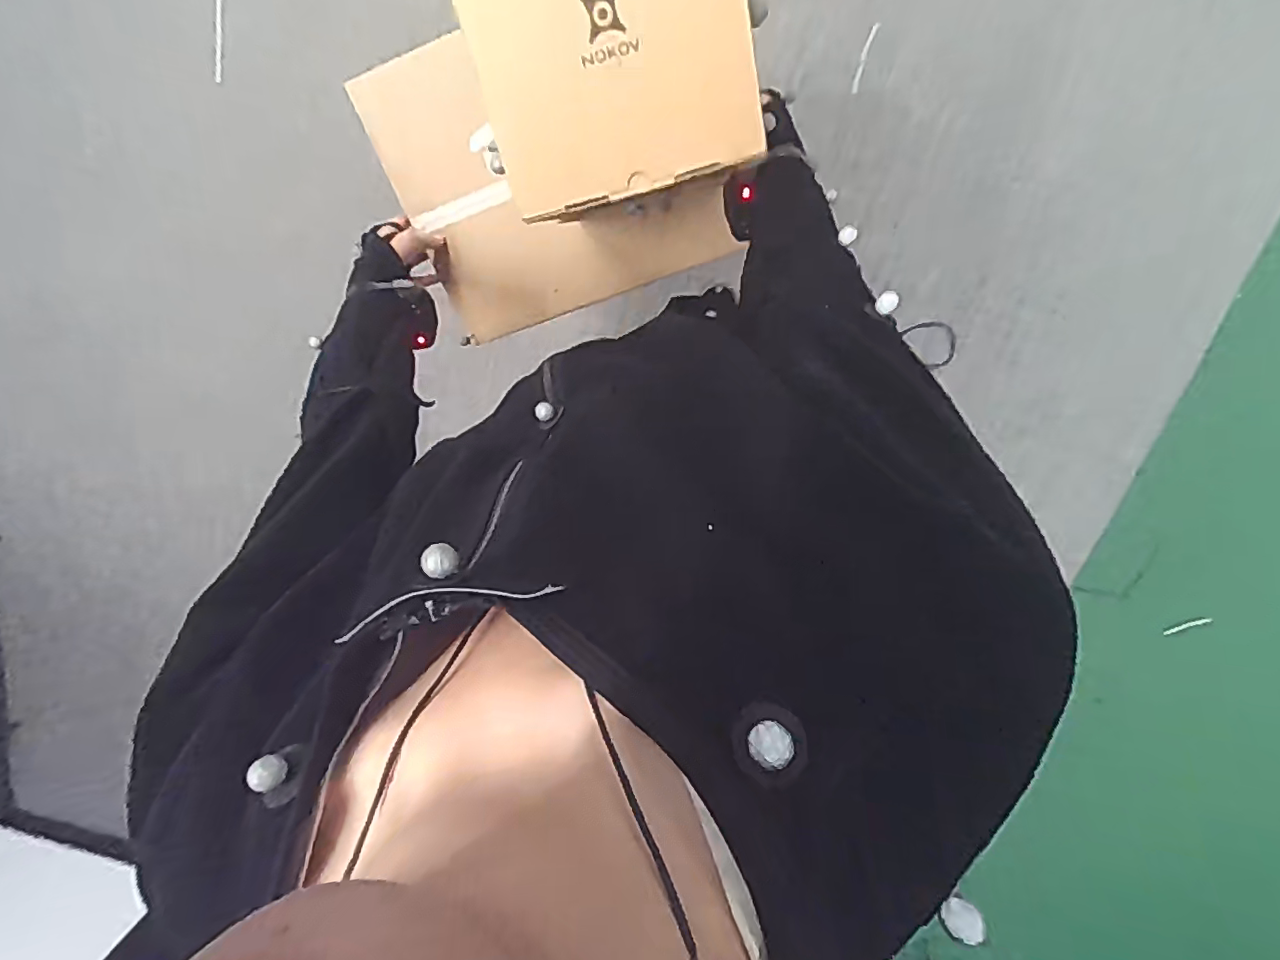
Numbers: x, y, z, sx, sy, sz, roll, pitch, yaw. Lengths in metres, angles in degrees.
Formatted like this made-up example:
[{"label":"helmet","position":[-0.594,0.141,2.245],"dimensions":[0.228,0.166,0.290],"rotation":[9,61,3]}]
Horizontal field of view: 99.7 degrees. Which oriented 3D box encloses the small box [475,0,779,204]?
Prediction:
[{"label":"small box","position":[-0.011,-0.306,0.379],"dimensions":[0.168,0.176,0.179],"rotation":[-12,117,7]}]
